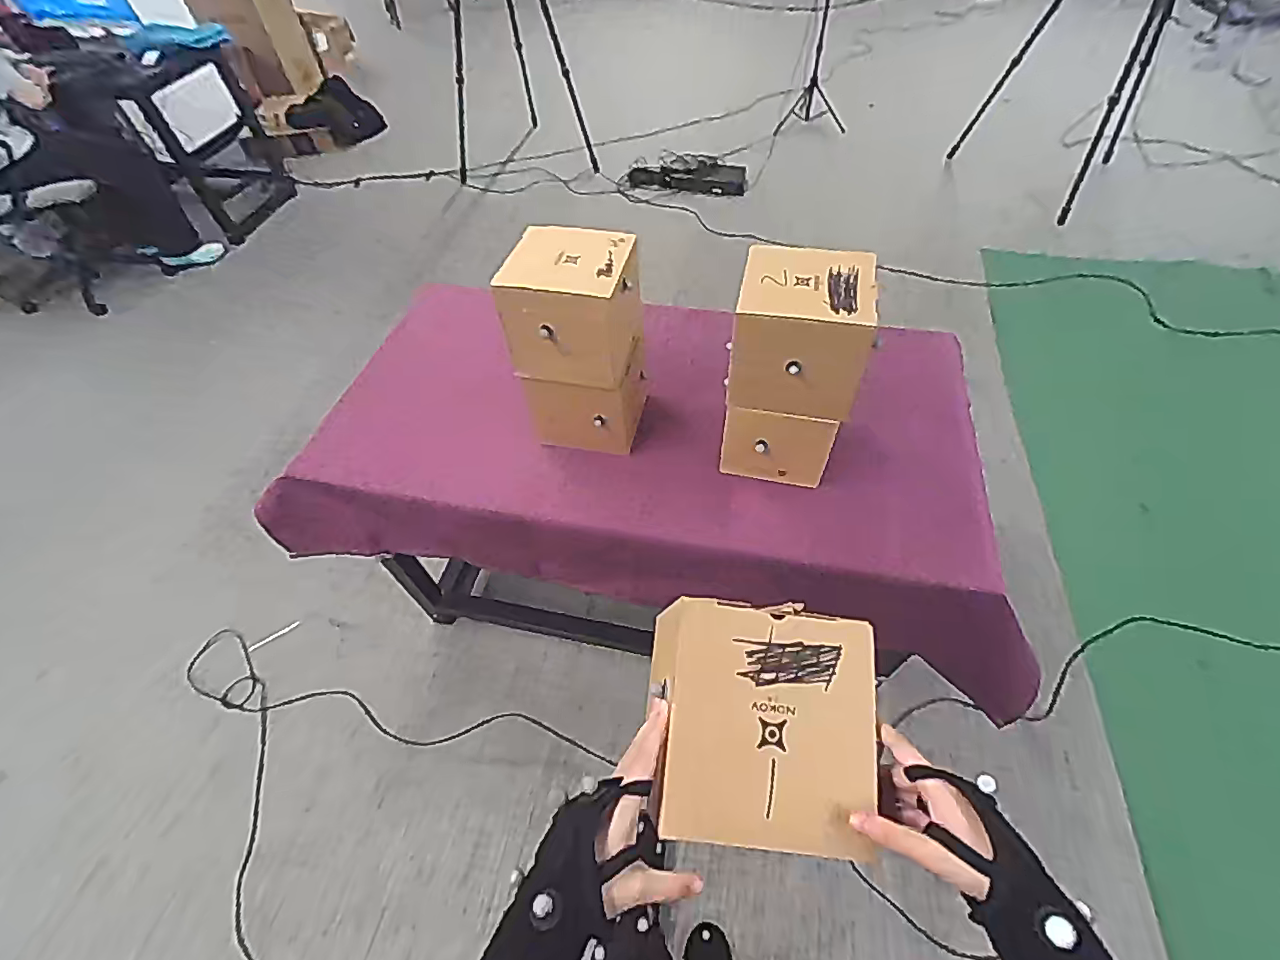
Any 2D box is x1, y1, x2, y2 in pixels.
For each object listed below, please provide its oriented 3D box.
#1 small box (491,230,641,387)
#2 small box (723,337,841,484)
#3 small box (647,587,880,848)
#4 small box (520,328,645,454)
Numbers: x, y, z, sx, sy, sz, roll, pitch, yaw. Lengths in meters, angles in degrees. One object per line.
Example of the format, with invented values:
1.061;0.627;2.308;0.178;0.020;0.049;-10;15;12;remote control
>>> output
-0.102;-0.265;0.843;0.179;0.176;0.168;9;53;10;small box
0.235;-0.114;0.915;0.168;0.176;0.179;10;53;11;small box
0.101;0.209;0.503;0.168;0.176;0.179;8;70;-2;small box
-0.090;-0.166;0.974;0.179;0.176;0.168;9;53;10;small box
